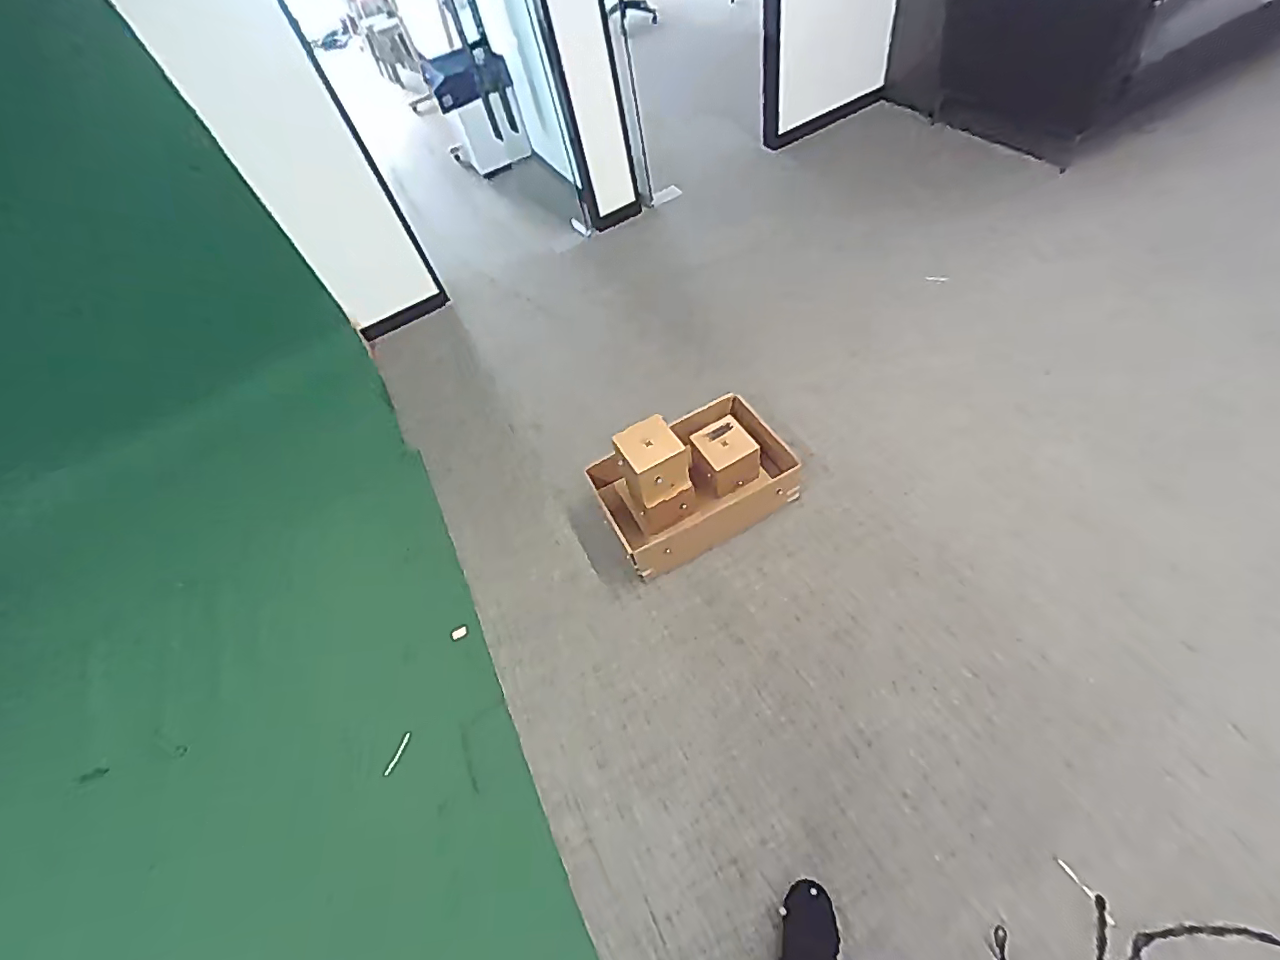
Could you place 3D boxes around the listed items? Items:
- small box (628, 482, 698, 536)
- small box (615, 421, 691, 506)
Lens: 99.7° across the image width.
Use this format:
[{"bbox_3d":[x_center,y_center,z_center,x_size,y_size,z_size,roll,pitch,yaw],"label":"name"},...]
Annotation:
[{"bbox_3d":[0.079,0.062,1.788,0.168,0.176,0.179,-27,52,-10],"label":"small box"},{"bbox_3d":[0.045,-0.044,1.670,0.168,0.176,0.179,-28,52,-11],"label":"small box"}]
